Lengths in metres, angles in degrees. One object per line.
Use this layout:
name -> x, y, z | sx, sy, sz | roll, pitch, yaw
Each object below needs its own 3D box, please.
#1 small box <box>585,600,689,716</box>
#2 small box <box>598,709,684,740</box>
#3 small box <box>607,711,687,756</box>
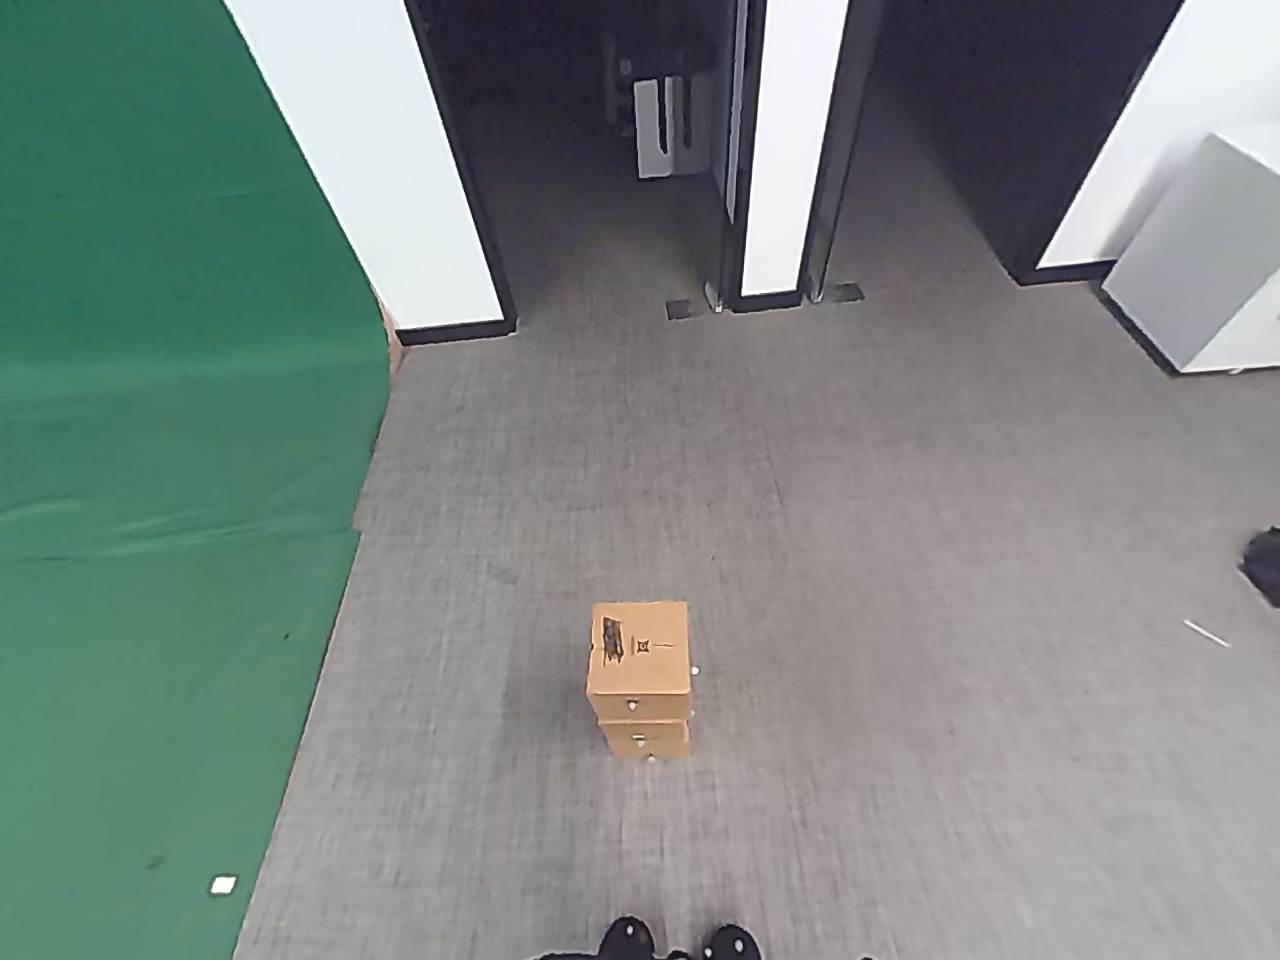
small box -> 0.002, 0.338, 1.017 | 0.179, 0.176, 0.168 | -2, 53, 4
small box -> 0.008, 0.439, 1.147 | 0.168, 0.176, 0.179 | -4, 53, 5
small box -> 0.021, 0.542, 1.272 | 0.179, 0.176, 0.168 | -1, 52, 4
